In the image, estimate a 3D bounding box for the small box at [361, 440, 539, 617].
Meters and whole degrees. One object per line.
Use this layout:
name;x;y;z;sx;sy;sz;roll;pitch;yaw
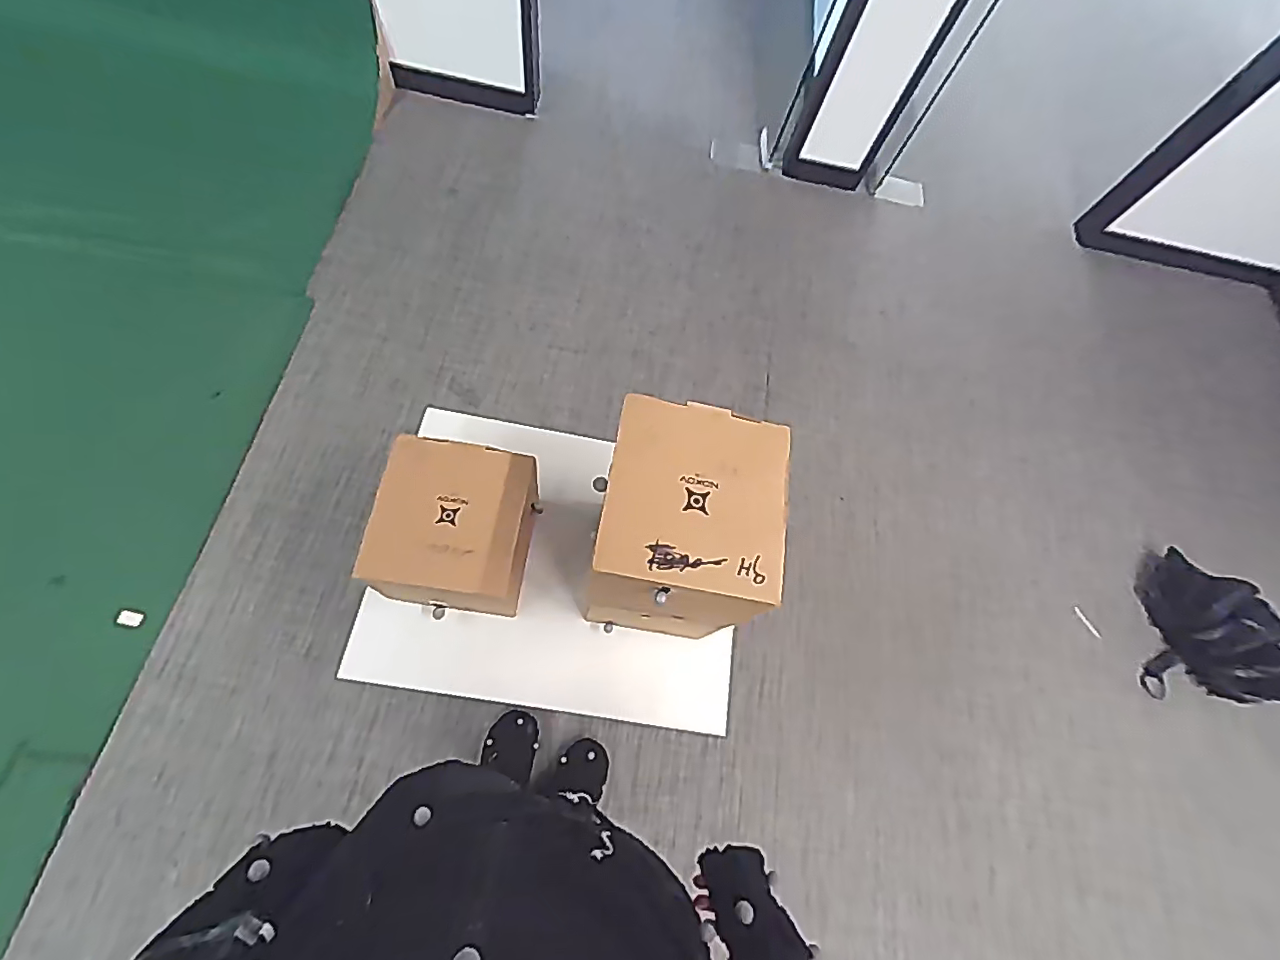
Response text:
small box;-0.224;0.070;0.693;0.168;0.176;0.179;7;69;-4

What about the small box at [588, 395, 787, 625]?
small box;0.041;0.041;0.561;0.168;0.176;0.179;10;67;-3
